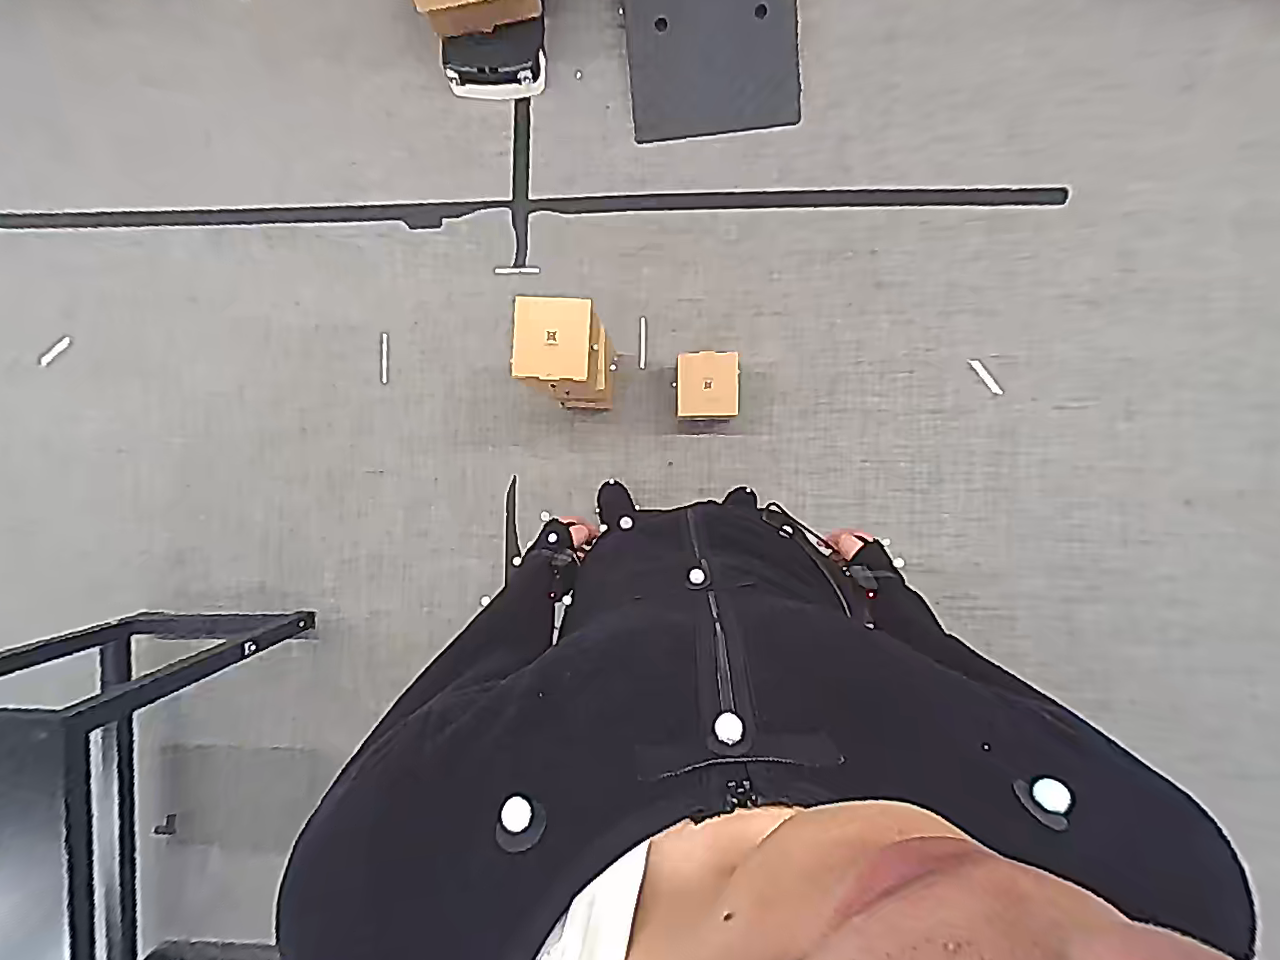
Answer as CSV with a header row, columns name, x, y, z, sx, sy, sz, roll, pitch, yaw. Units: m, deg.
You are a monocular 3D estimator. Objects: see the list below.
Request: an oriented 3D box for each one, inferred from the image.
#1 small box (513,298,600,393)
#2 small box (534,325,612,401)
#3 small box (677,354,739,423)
name,x,y,z,sx,sy,sz,roll,pitch,yaw
small box,-0.184,-0.299,1.229,0.168,0.176,0.179,3,92,2
small box,-0.168,-0.296,1.391,0.179,0.176,0.168,1,91,1
small box,0.190,-0.256,1.543,0.168,0.176,0.179,-1,92,4
